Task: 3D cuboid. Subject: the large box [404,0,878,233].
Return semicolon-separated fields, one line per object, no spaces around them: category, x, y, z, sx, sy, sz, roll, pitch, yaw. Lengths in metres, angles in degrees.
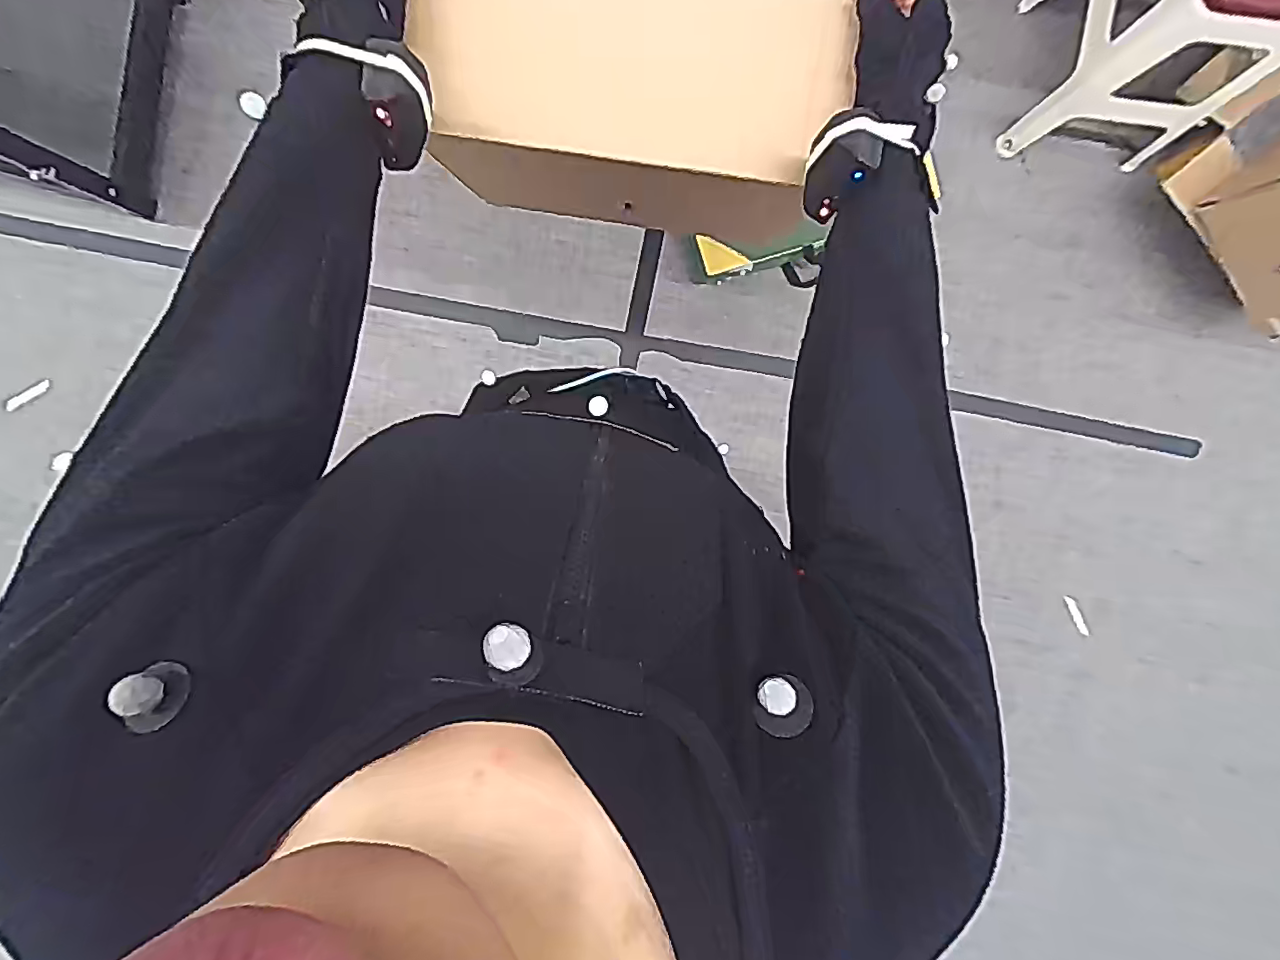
large box;0.007;-0.475;0.587;0.408;0.320;0.320;7;105;-3
